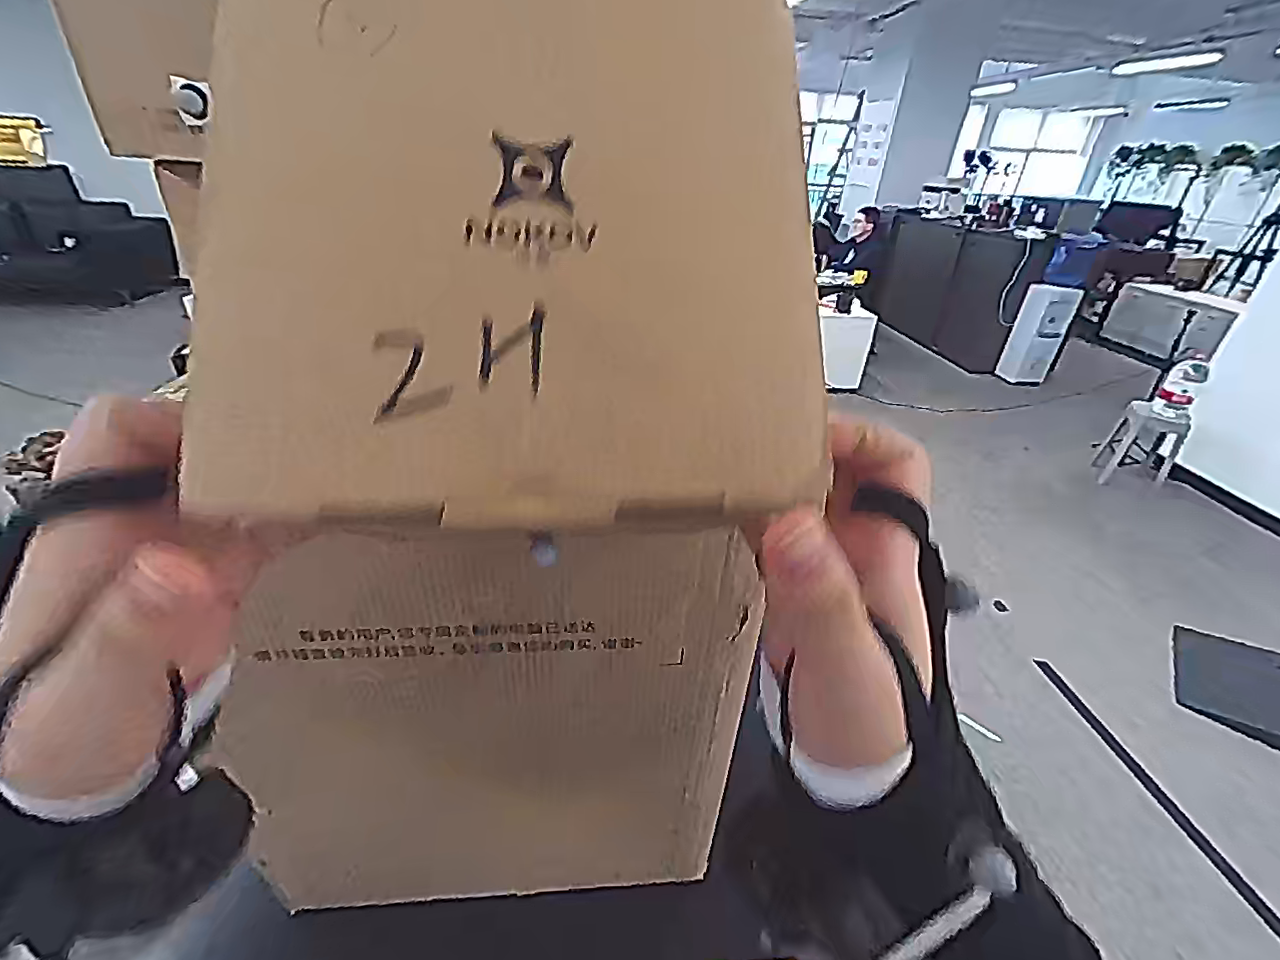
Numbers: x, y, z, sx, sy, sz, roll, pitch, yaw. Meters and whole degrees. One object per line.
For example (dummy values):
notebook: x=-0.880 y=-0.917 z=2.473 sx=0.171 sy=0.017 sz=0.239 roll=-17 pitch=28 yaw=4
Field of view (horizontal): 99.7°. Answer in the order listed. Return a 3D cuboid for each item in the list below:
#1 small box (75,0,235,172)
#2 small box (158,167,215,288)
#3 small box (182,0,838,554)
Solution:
small box: x=-0.298 y=-0.338 z=0.427 sx=0.168 sy=0.176 sz=0.179 roll=-2 pitch=31 yaw=-9
small box: x=-0.307 y=-0.215 z=0.539 sx=0.168 sy=0.176 sz=0.179 roll=0 pitch=31 yaw=-7
small box: x=-0.037 y=-0.059 z=0.227 sx=0.168 sy=0.179 sz=0.176 roll=0 pitch=-7 yaw=-7
